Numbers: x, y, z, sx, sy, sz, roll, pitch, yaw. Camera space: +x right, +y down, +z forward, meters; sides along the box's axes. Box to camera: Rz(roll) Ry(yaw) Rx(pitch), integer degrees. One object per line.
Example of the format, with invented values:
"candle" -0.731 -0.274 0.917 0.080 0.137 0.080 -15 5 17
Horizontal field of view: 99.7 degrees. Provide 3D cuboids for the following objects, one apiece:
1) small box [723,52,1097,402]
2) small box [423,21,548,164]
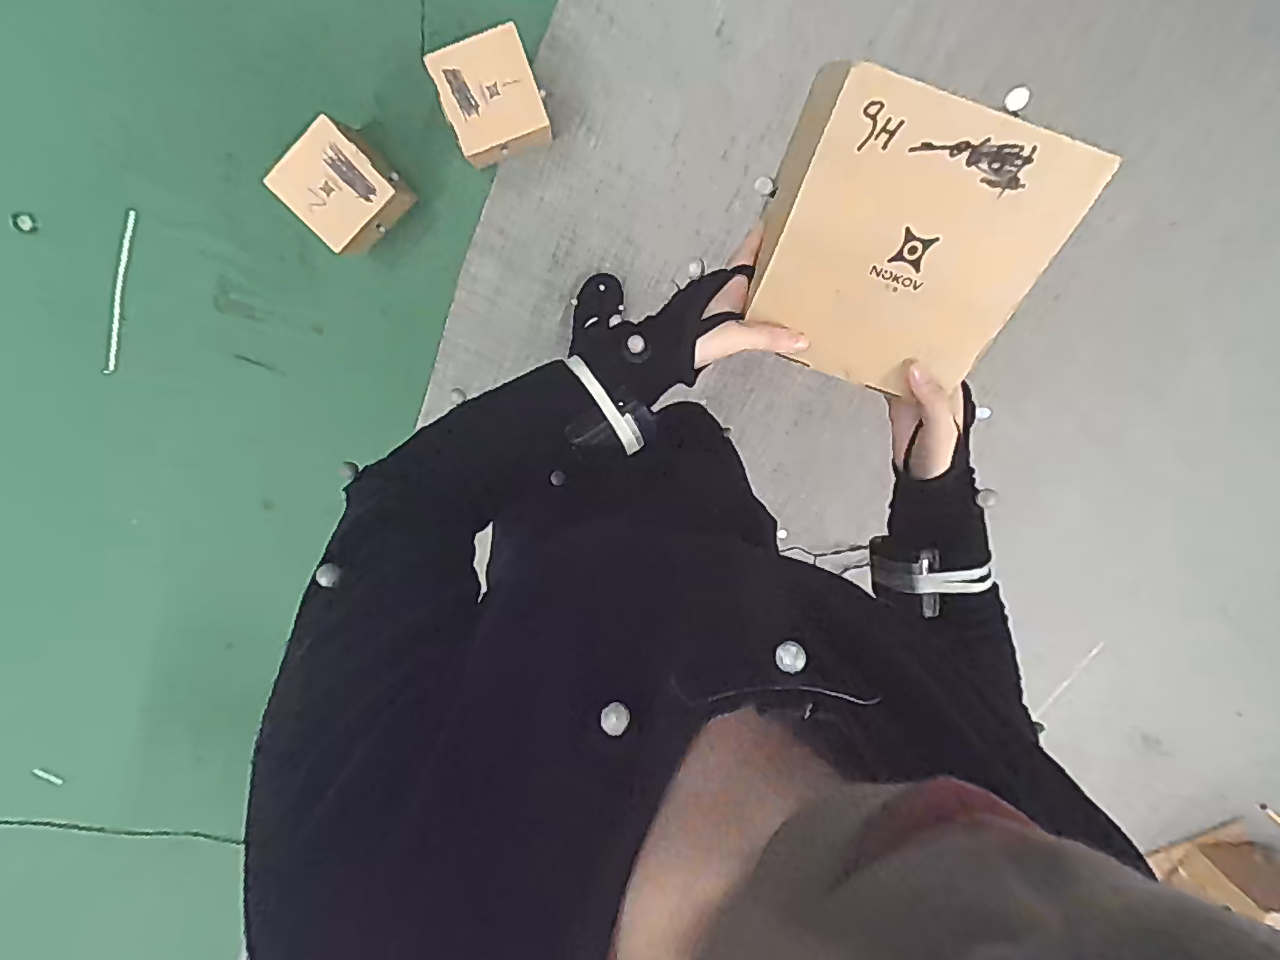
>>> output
"small box" 0.175 -0.194 0.417 0.168 0.176 0.179 18 127 -3
"small box" -0.289 -0.742 1.058 0.179 0.176 0.168 -21 115 1
